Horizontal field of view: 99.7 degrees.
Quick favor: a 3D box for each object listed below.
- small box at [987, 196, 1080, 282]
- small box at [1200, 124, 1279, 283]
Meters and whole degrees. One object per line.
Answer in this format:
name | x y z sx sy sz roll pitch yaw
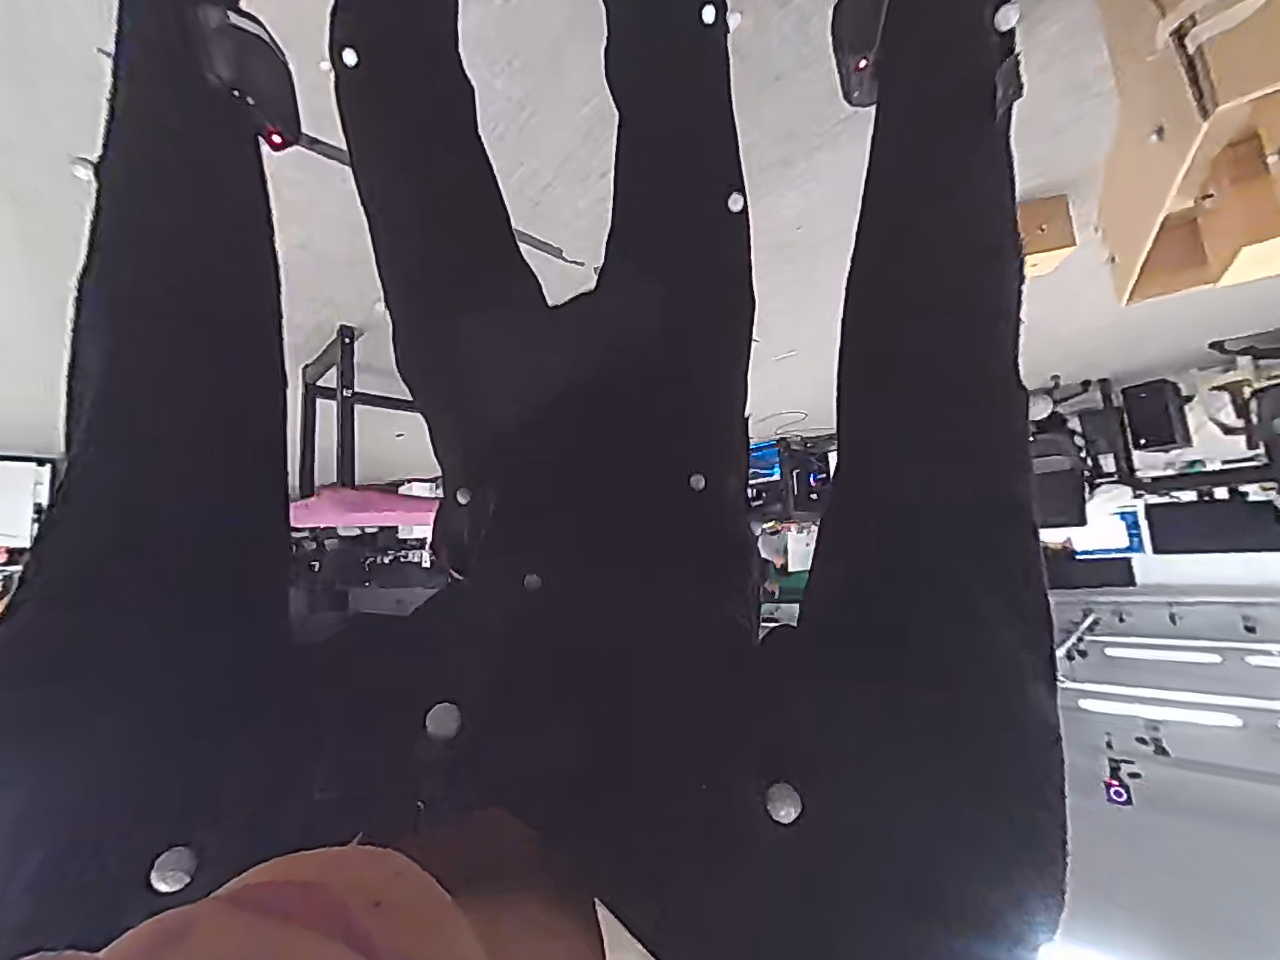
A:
small box | 1.206 -0.744 1.672 0.179 0.176 0.168 -6 171 13
small box | 1.005 -0.435 0.818 0.179 0.176 0.168 -9 169 34
